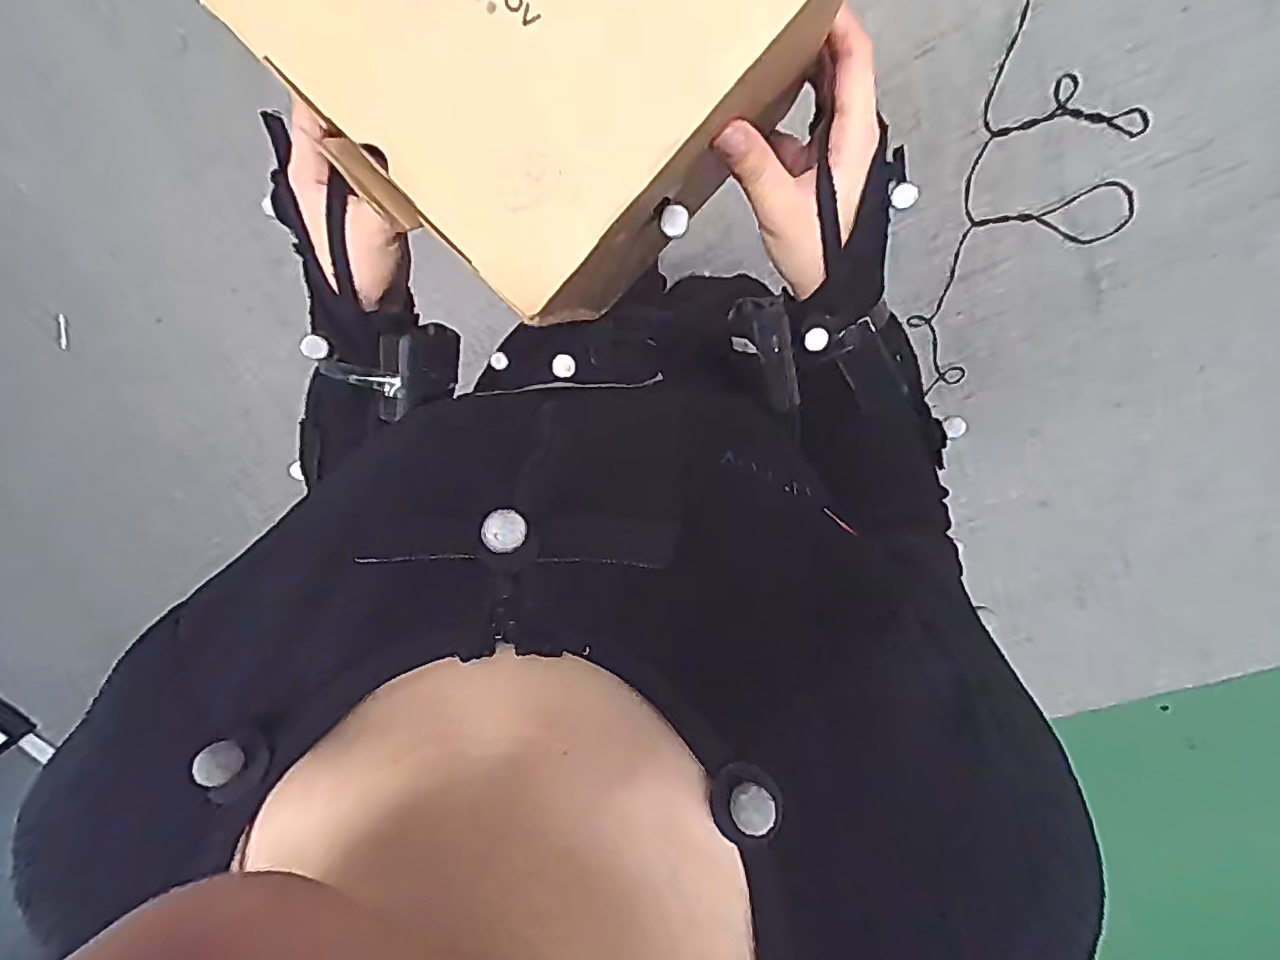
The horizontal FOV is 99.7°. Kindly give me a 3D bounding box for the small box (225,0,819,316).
[{"bbox_3d":[-0.034,-0.202,0.267,0.168,0.176,0.179,44,107,-8],"label":"small box"}]
